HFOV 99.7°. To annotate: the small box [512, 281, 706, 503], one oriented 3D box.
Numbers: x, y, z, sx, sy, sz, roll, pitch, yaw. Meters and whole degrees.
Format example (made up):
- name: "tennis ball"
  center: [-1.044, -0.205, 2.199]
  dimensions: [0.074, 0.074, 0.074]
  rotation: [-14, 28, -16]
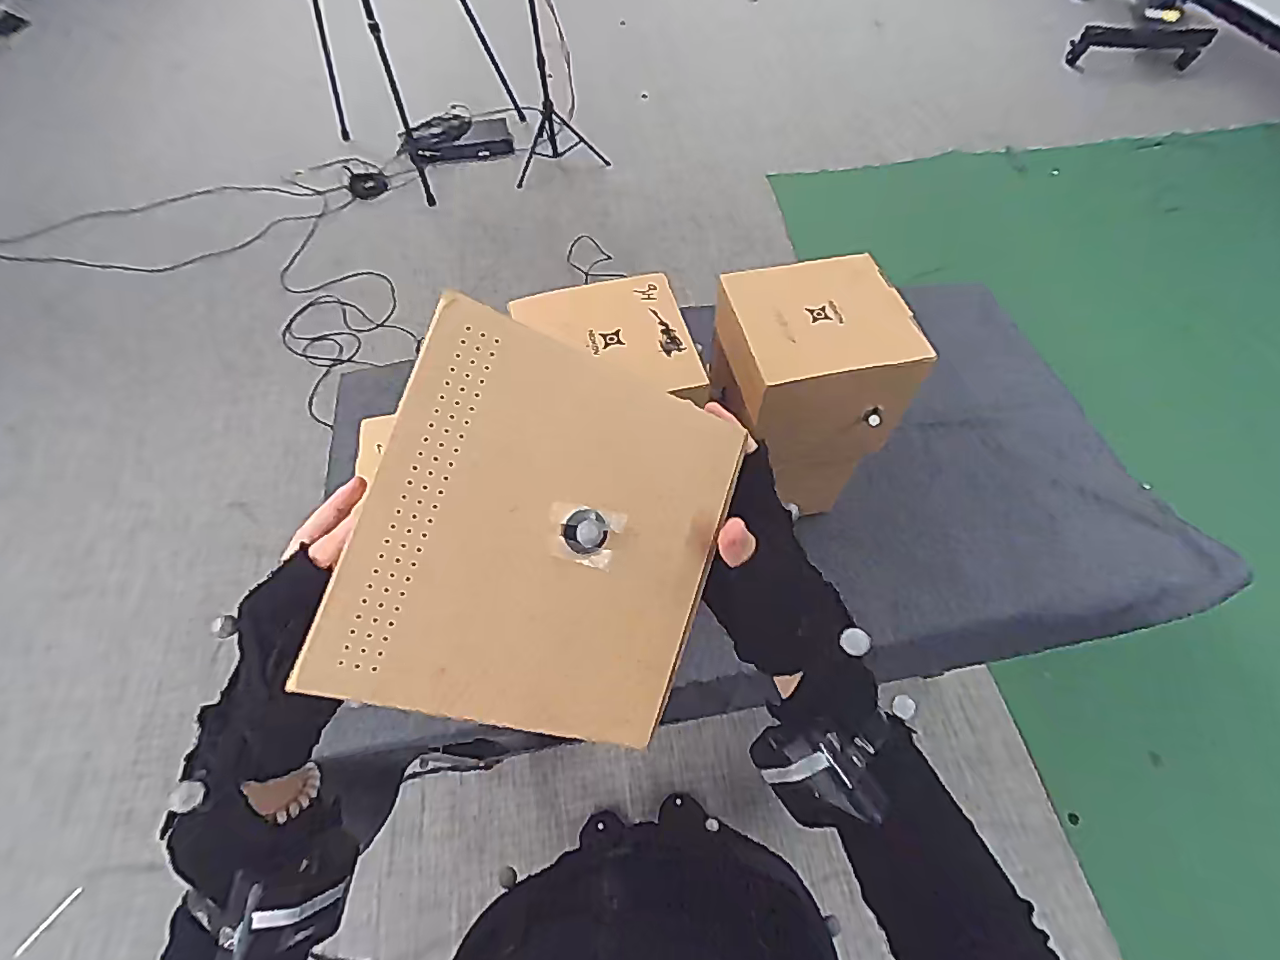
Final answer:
- name: "small box"
  center: [-0.033, -0.092, 0.620]
  dimensions: [0.179, 0.176, 0.168]
  rotation: [-13, 60, -5]
